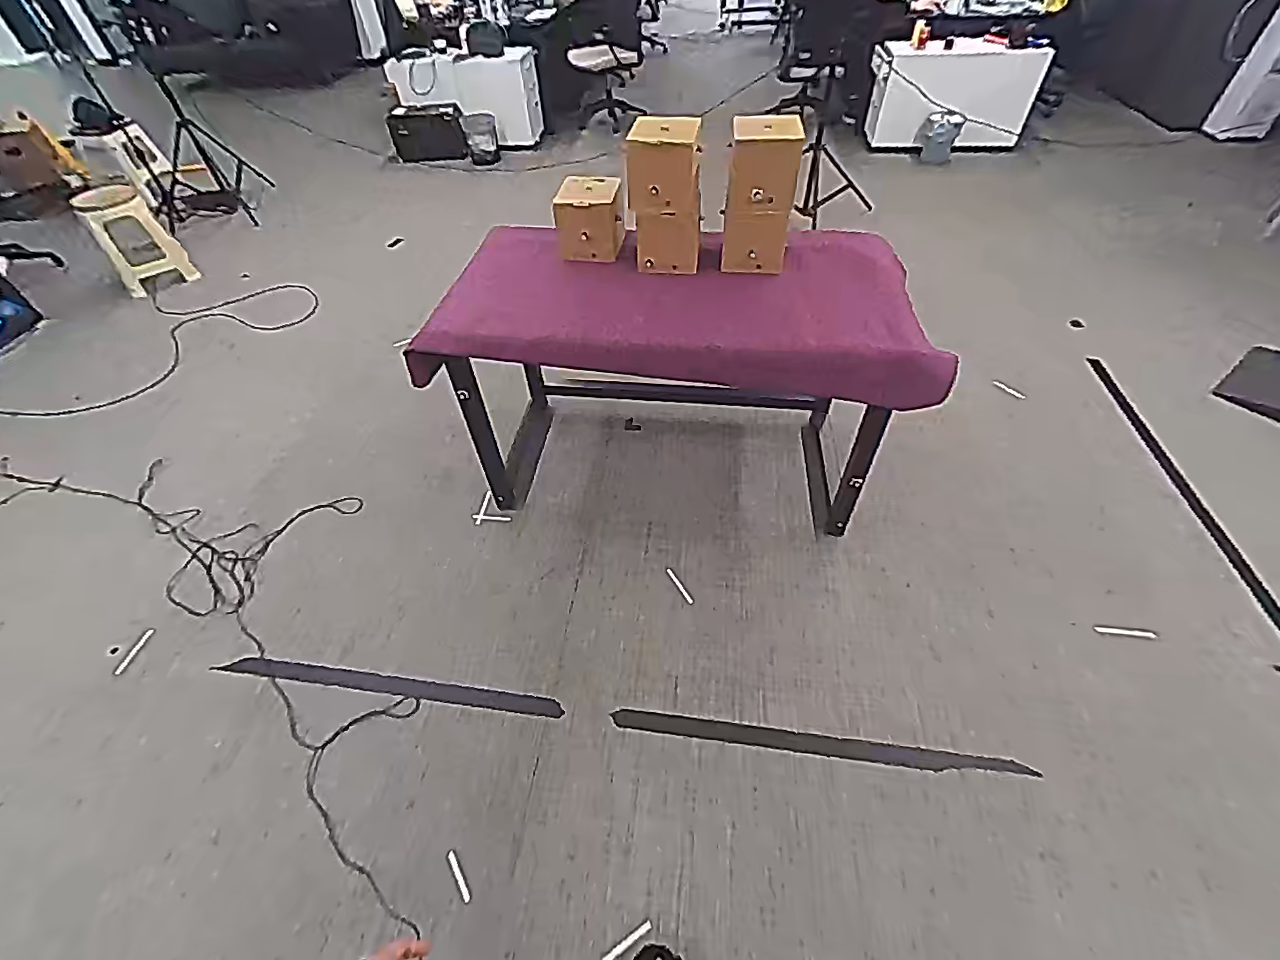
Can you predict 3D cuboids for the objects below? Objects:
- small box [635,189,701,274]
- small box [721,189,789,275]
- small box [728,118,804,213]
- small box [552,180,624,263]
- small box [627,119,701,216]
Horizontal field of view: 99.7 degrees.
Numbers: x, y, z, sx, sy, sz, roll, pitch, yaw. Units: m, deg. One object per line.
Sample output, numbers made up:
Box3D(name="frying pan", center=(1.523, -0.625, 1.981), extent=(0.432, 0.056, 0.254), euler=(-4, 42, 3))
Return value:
Box3D(name="small box", center=(0.082, -0.692, 1.510), extent=(0.168, 0.176, 0.179), euler=(4, 49, 6))
Box3D(name="small box", center=(0.313, -0.690, 1.497), extent=(0.168, 0.176, 0.179), euler=(4, 50, 7))
Box3D(name="small box", center=(0.313, -0.801, 1.378), extent=(0.168, 0.176, 0.179), euler=(2, 50, 6))
Box3D(name="small box", center=(-0.143, -0.749, 1.570), extent=(0.168, 0.176, 0.179), euler=(6, 51, 8))
Box3D(name="small box", center=(0.063, -0.804, 1.393), extent=(0.168, 0.176, 0.179), euler=(6, 51, 8))
